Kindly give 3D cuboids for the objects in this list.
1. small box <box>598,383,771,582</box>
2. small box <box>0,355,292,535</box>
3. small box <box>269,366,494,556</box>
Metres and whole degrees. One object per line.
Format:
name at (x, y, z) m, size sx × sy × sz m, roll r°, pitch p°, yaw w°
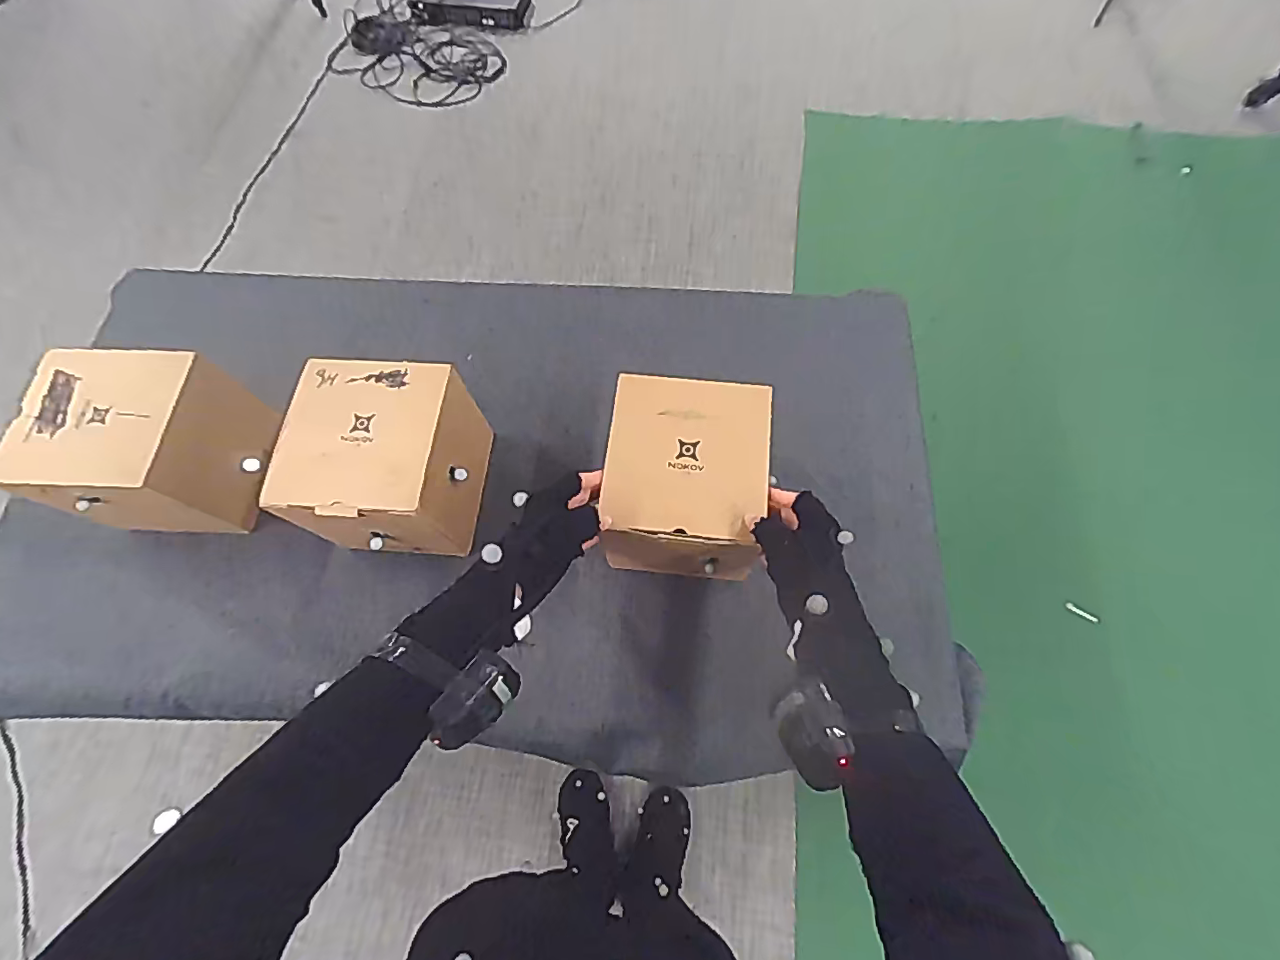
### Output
small box at (0.051, 0.012, 0.625) m, size 0.168 × 0.176 × 0.179 m, roll 6°, pitch 67°, yaw 3°
small box at (-0.578, -0.035, 0.661) m, size 0.179 × 0.176 × 0.168 m, roll 2°, pitch 68°, yaw 2°
small box at (-0.286, -0.014, 0.645) m, size 0.168 × 0.176 × 0.179 m, roll 3°, pitch 68°, yaw 3°
